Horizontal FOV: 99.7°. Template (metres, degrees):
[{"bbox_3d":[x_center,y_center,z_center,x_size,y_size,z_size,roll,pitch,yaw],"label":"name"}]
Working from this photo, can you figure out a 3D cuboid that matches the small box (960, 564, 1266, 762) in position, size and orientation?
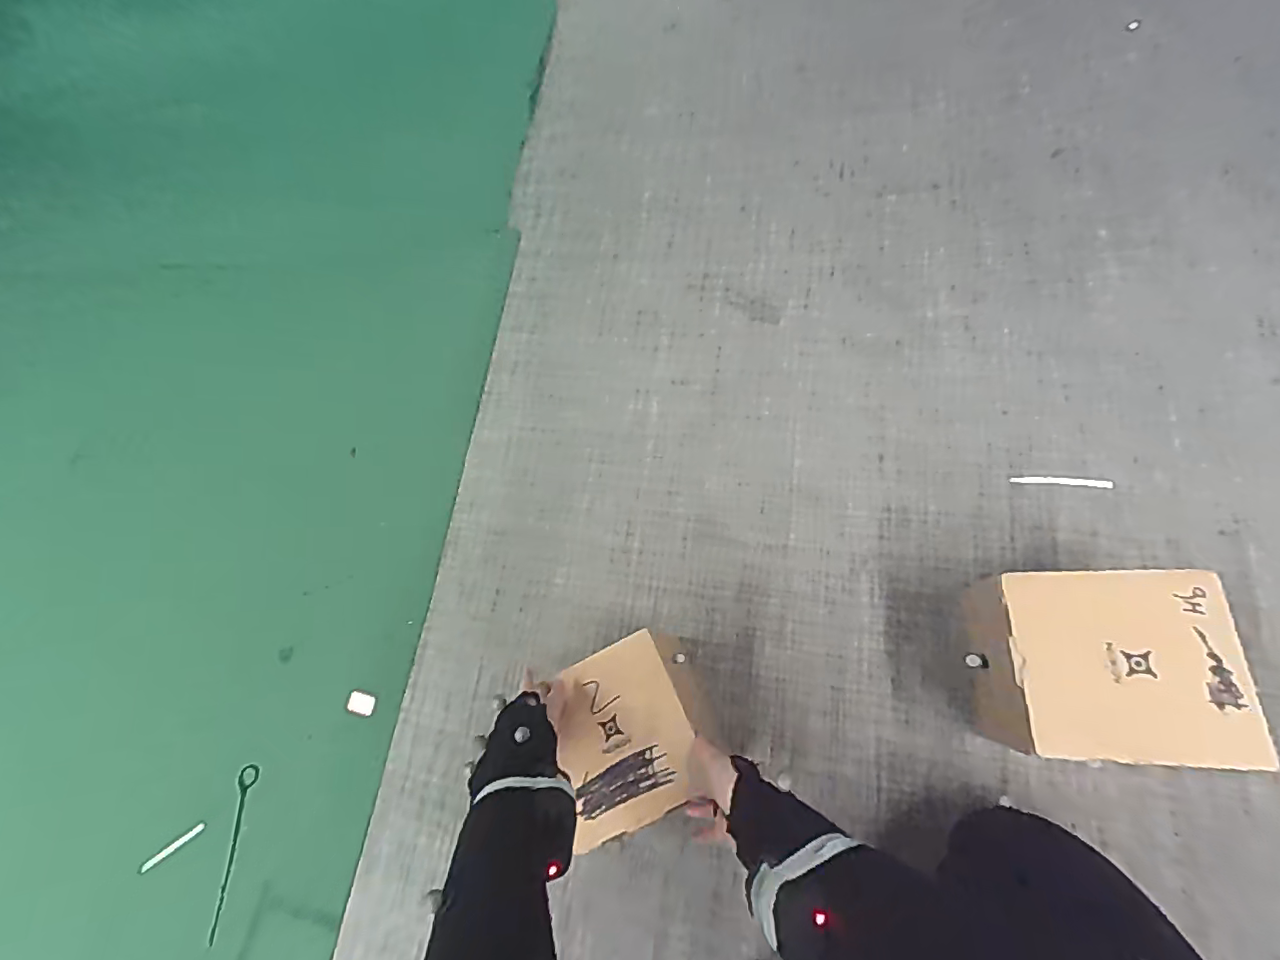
[{"bbox_3d":[0.451,0.185,0.560,0.179,0.176,0.168,-5,70,16],"label":"small box"}]
